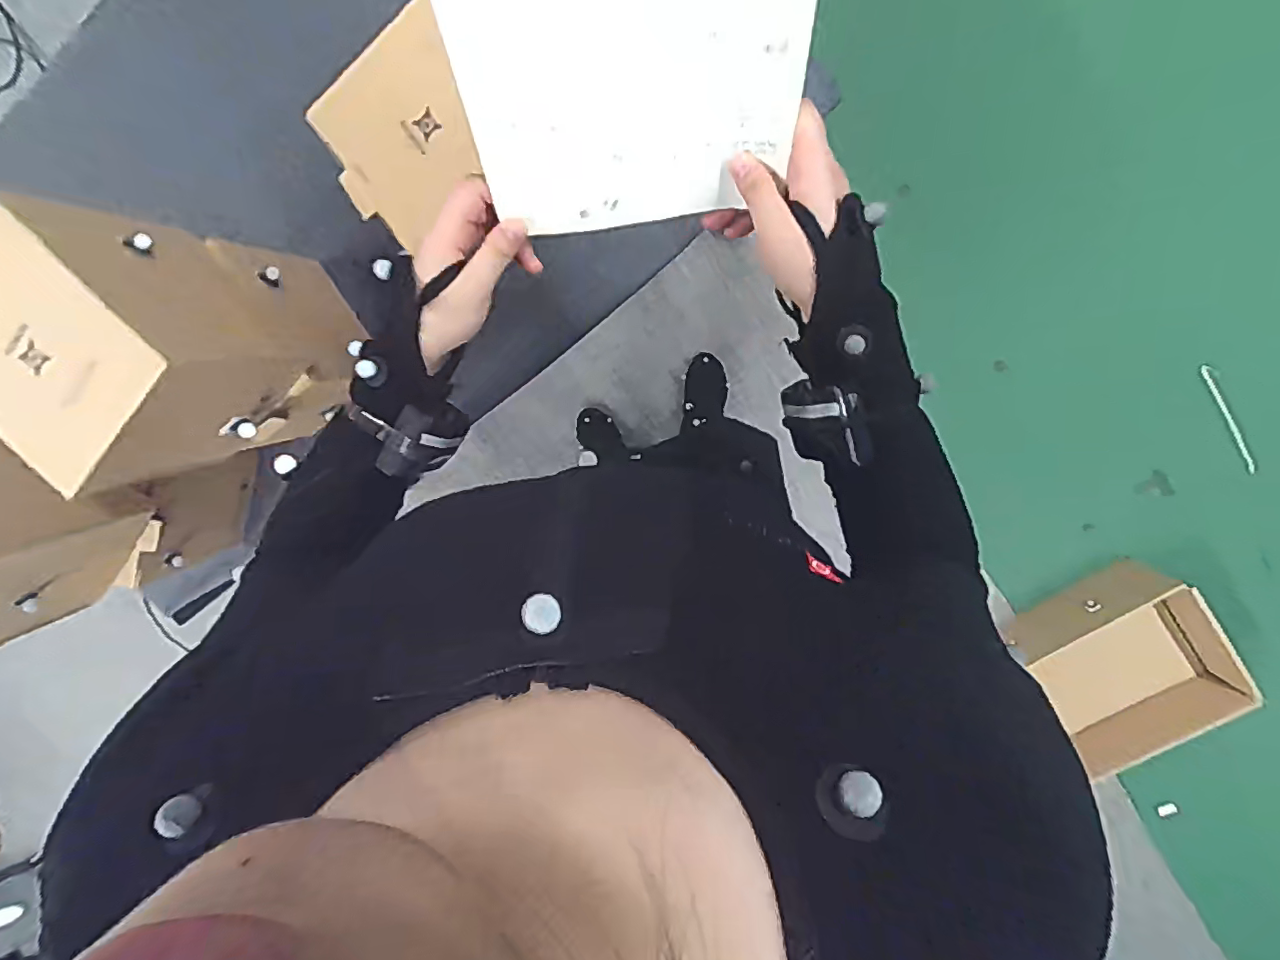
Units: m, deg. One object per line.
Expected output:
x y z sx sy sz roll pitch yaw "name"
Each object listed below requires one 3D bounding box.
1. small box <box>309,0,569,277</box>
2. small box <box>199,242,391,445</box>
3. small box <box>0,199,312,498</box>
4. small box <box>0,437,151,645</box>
-0.195 -0.347 0.585 0.179 0.176 0.168 -35 98 14 "small box"
-0.453 -0.153 0.660 0.168 0.176 0.179 -31 99 13 "small box"
-0.465 -0.115 0.504 0.168 0.176 0.179 -42 97 15 "small box"
-0.683 0.063 0.570 0.168 0.176 0.179 40 106 -5 "small box"
